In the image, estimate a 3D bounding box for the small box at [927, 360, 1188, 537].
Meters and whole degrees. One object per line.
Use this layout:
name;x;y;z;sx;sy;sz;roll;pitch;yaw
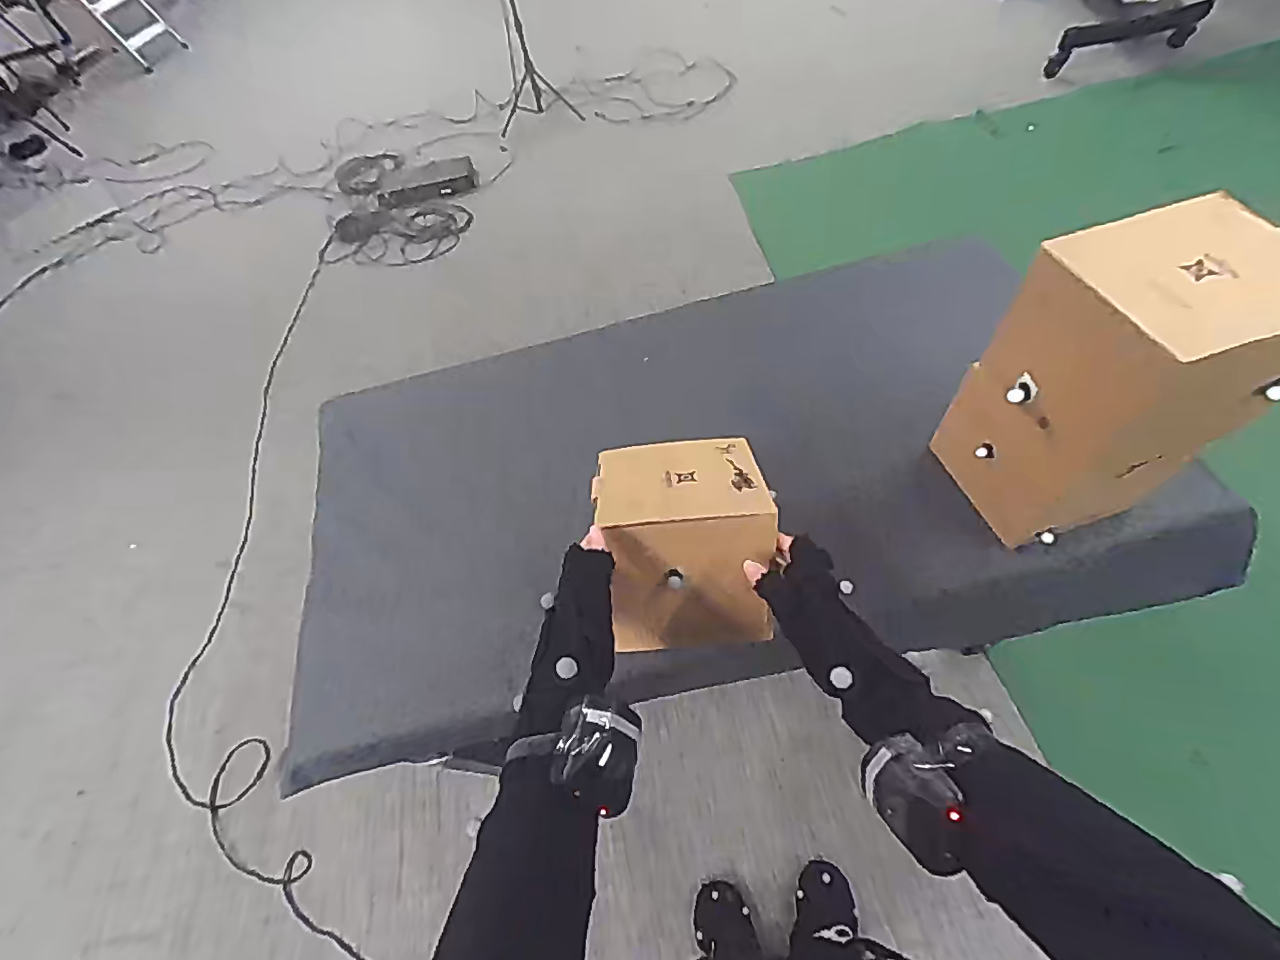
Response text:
small box;0.495;-0.048;0.666;0.168;0.176;0.179;-18;56;-2

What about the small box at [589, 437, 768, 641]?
small box;0.045;0.066;0.621;0.179;0.176;0.168;-5;29;2

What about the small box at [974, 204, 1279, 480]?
small box;0.474;-0.126;0.526;0.179;0.176;0.168;-17;55;0
